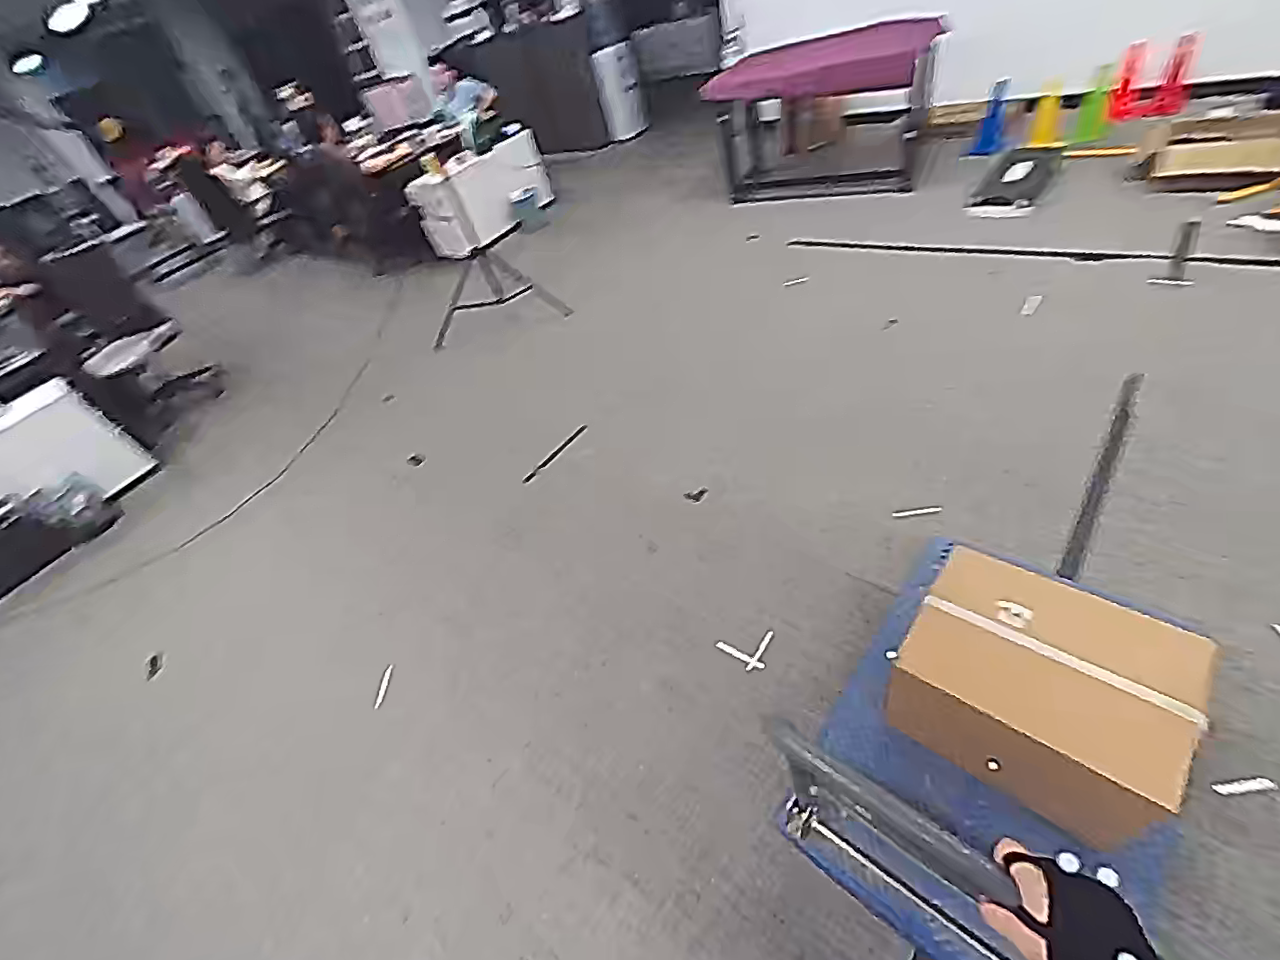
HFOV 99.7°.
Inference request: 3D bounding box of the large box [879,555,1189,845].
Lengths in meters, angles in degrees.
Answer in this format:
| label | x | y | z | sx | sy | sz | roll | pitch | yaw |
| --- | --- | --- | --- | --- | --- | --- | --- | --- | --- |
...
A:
| label | x | y | z | sx | sy | sz | roll | pitch | yaw |
| --- | --- | --- | --- | --- | --- | --- | --- | --- | --- |
| large box | 0.740 | 0.420 | 1.074 | 0.408 | 0.320 | 0.320 | 23 | 57 | 37 |
